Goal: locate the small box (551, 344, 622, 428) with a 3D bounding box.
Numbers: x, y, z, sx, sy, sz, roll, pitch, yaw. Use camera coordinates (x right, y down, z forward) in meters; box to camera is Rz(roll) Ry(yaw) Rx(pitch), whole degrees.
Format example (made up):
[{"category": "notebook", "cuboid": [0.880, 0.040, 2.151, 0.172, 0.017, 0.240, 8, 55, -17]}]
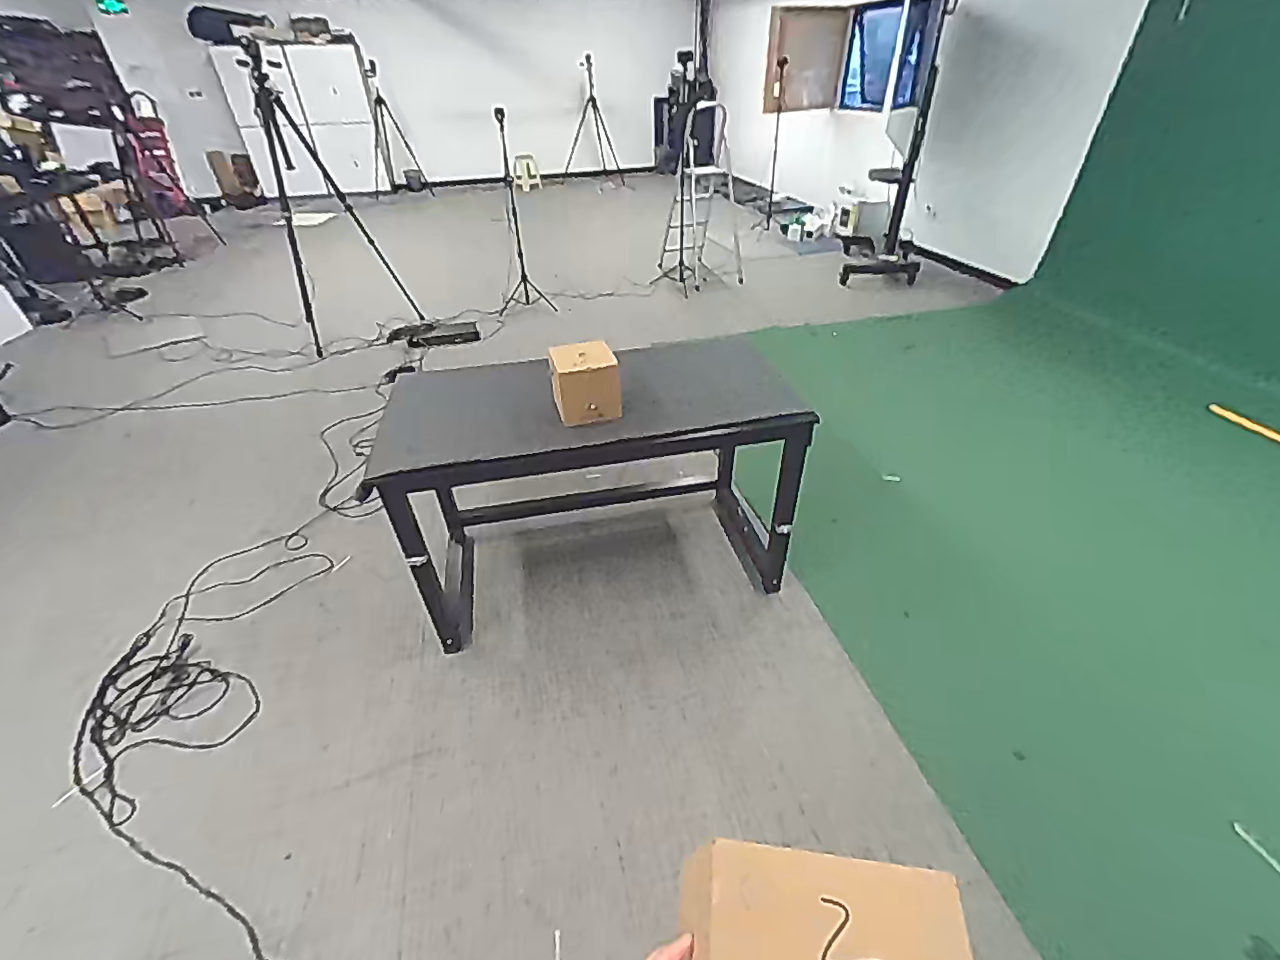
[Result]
[{"category": "small box", "cuboid": [-0.152, -0.267, 1.532, 0.168, 0.176, 0.179, -11, 37, -12]}]
